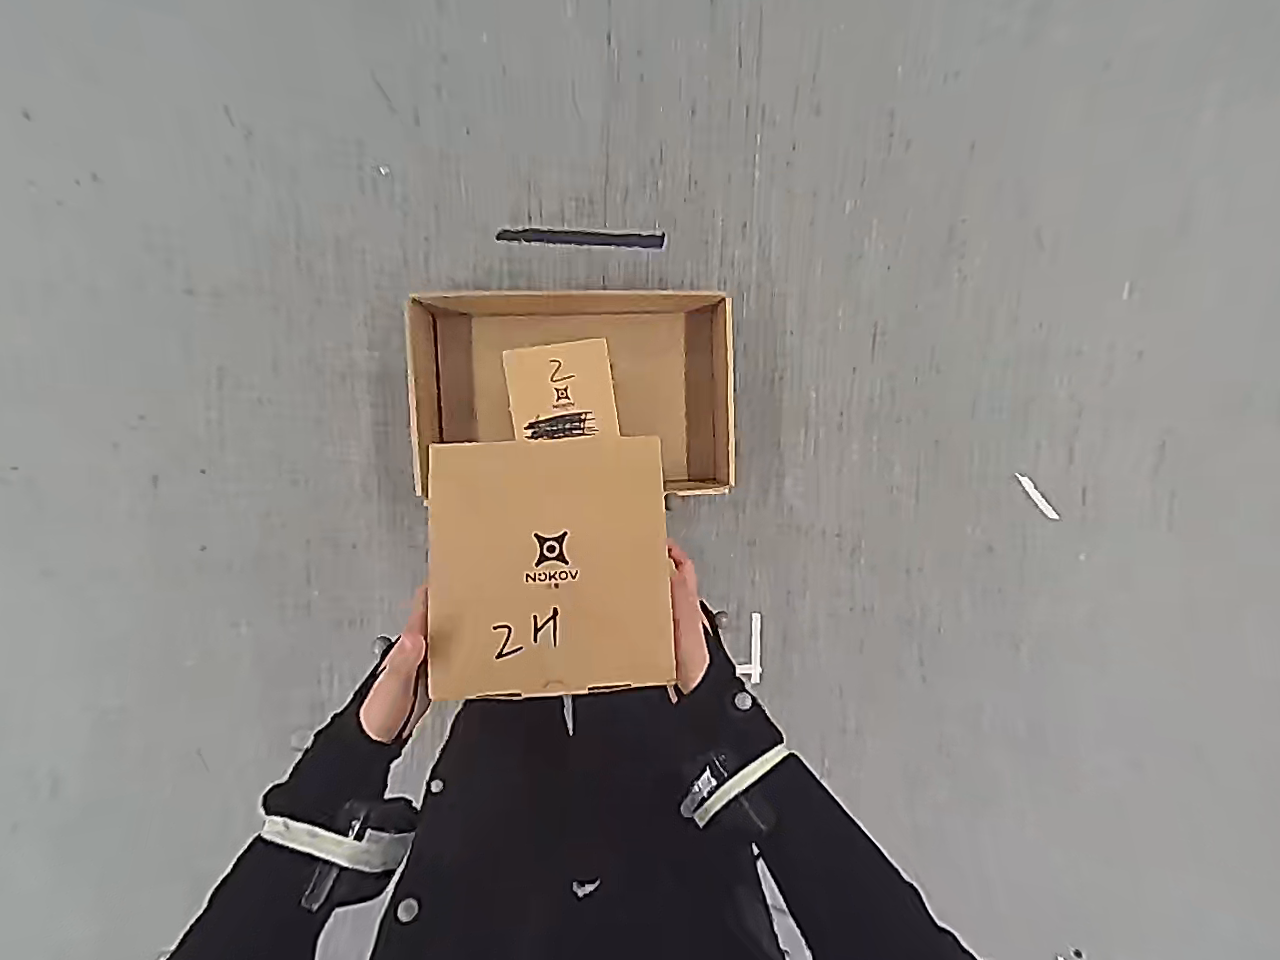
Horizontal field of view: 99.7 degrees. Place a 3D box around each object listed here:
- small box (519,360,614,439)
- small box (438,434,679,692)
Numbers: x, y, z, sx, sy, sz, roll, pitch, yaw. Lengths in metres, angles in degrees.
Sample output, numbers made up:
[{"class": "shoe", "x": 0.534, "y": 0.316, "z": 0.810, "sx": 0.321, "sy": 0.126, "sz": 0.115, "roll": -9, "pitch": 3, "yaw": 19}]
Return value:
[{"class": "small box", "x": -0.144, "y": -0.137, "z": 1.096, "sx": 0.168, "sy": 0.176, "sz": 0.179, "roll": -7, "pitch": 96, "yaw": -4}, {"class": "small box", "x": -0.064, "y": 0.068, "z": 0.460, "sx": 0.168, "sy": 0.176, "sz": 0.179, "roll": -3, "pitch": 81, "yaw": -4}]
